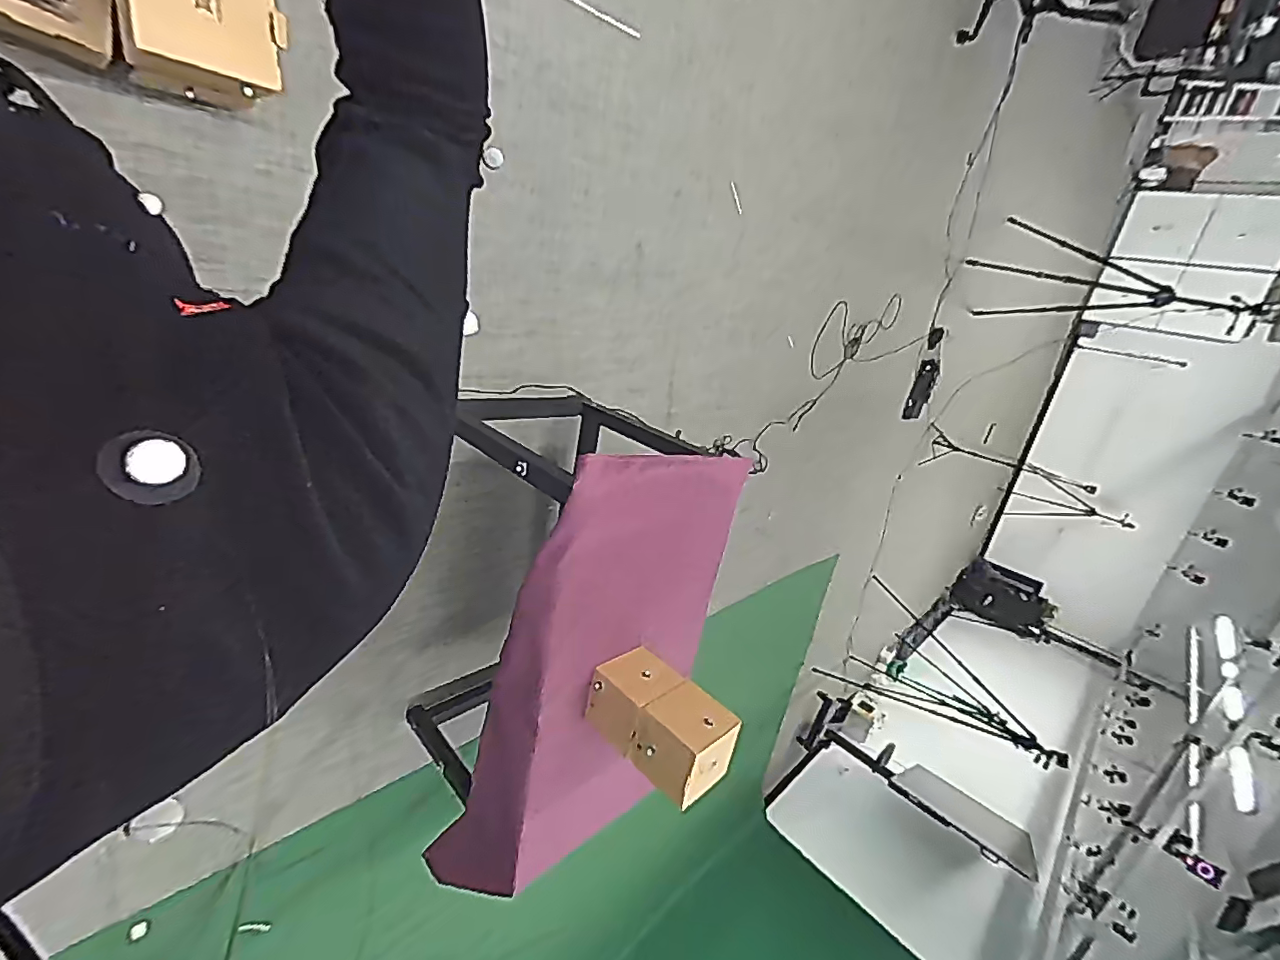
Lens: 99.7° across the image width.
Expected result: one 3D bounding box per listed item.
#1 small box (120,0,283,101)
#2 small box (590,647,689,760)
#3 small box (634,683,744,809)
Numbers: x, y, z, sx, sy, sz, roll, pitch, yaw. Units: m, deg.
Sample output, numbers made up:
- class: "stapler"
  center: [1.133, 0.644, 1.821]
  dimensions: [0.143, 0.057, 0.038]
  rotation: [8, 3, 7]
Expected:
- class: "small box"
  center: [-0.676, -0.706, 0.829]
  dimensions: [0.179, 0.176, 0.168]
  rotation: [-12, 120, -44]
- class: "small box"
  center: [-0.006, 0.558, 1.375]
  dimensions: [0.179, 0.176, 0.168]
  rotation: [-8, 117, -46]
- class: "small box"
  center: [0.114, 0.614, 1.276]
  dimensions: [0.179, 0.176, 0.168]
  rotation: [-8, 116, -45]
